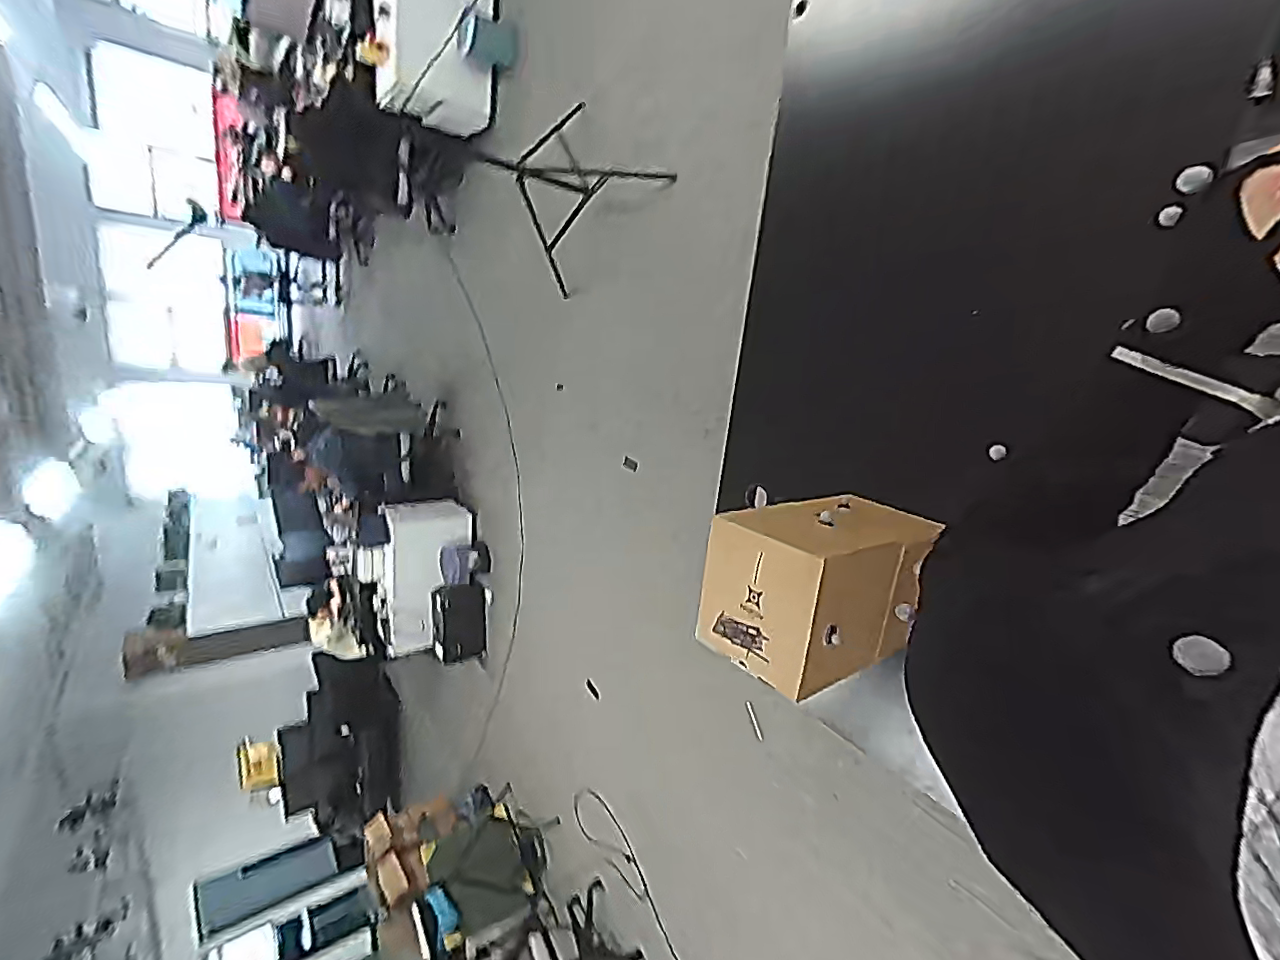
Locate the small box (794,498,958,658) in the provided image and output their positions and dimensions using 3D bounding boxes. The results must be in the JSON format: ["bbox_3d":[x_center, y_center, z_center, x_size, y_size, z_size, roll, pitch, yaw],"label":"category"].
[{"bbox_3d":[0.326,0.128,0.793,0.179,0.176,0.168,22,112,48],"label":"small box"}]

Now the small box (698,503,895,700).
[{"bbox_3d":[0.198,0.139,0.690,0.168,0.176,0.179,21,110,49],"label":"small box"}]
